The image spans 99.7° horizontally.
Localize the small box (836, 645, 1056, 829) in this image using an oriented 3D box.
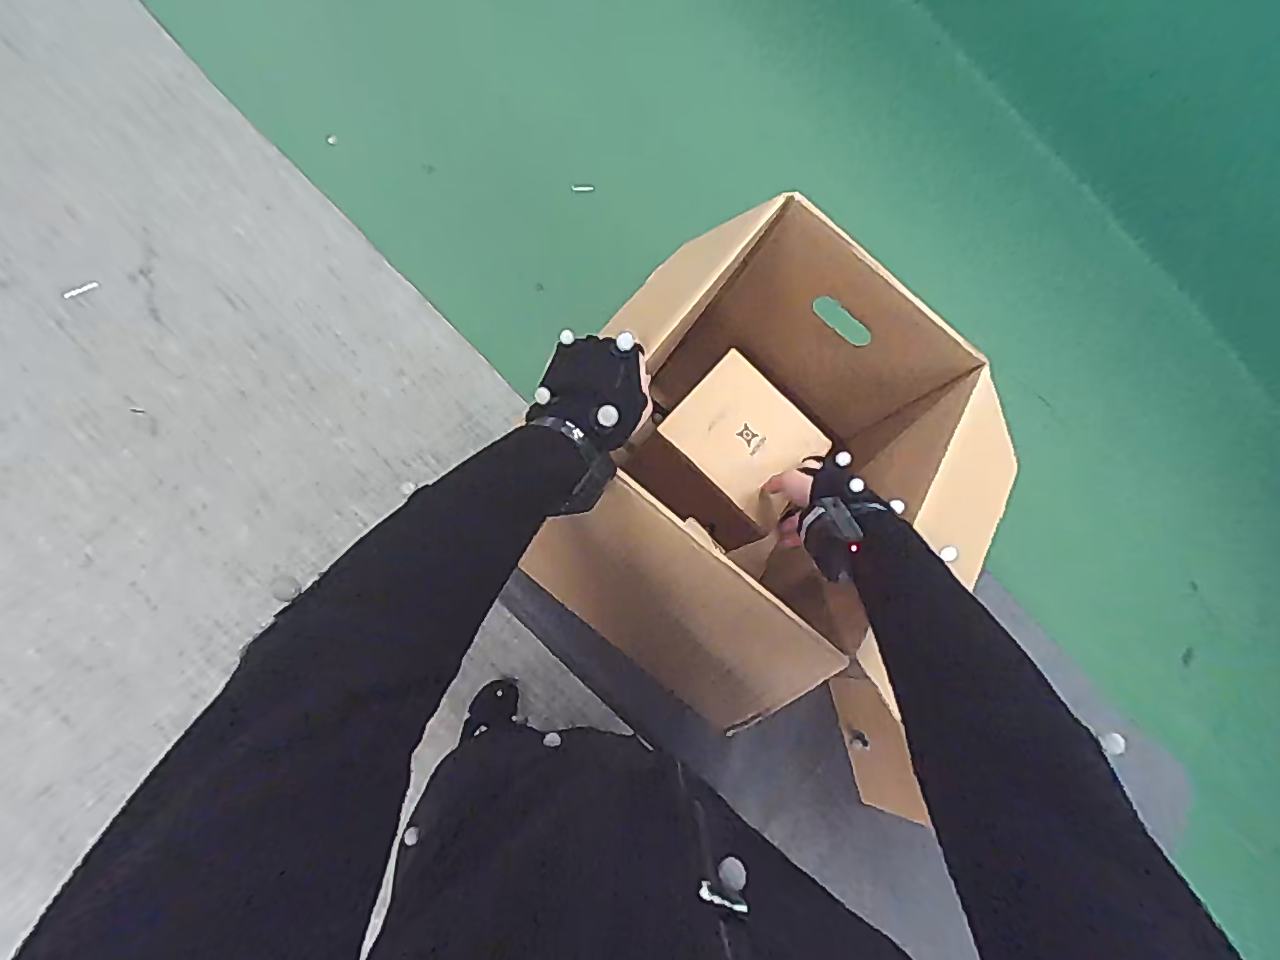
[{"bbox_3d":[0.399,0.328,0.732,0.168,0.176,0.179,-7,77,-18],"label":"small box"}]
